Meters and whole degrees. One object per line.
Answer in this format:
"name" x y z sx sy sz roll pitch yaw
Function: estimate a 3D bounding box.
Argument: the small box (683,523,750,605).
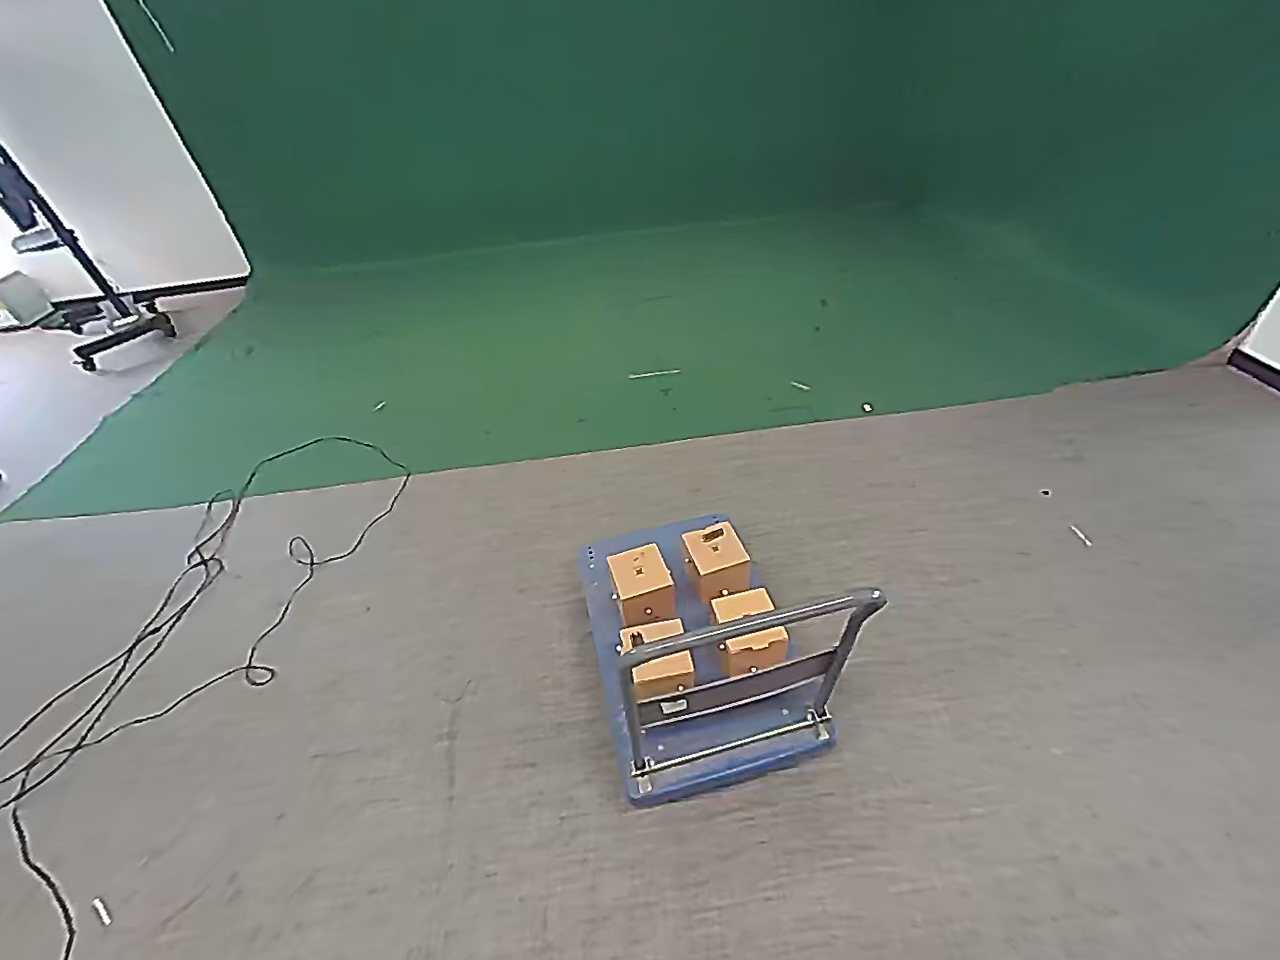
"small box" 0.247 0.275 1.767 0.168 0.176 0.179 -16 44 -8

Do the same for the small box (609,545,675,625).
"small box" 0.008 0.342 1.726 0.168 0.176 0.179 -15 43 -10

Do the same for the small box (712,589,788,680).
"small box" 0.311 0.449 1.570 0.168 0.176 0.179 -12 43 -6
